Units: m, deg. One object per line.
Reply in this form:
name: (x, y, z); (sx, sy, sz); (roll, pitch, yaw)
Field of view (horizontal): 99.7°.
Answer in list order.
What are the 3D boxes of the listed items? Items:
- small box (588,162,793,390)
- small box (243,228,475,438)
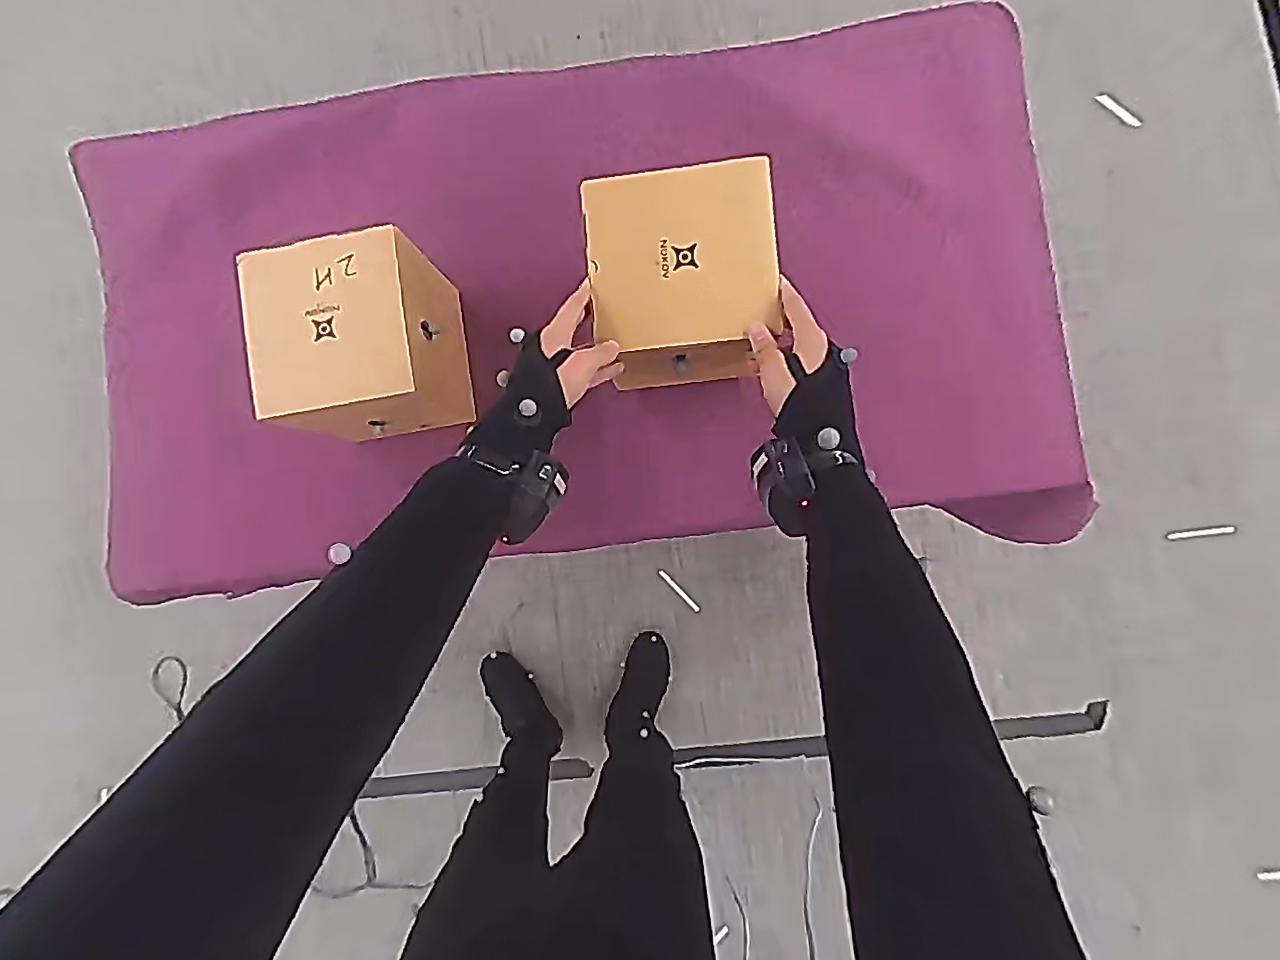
small box: (0.052, -0.195, 0.567); (0.179, 0.176, 0.168); (-5, 89, 7)
small box: (-0.300, -0.148, 0.611); (0.168, 0.176, 0.179); (-9, 86, 3)
